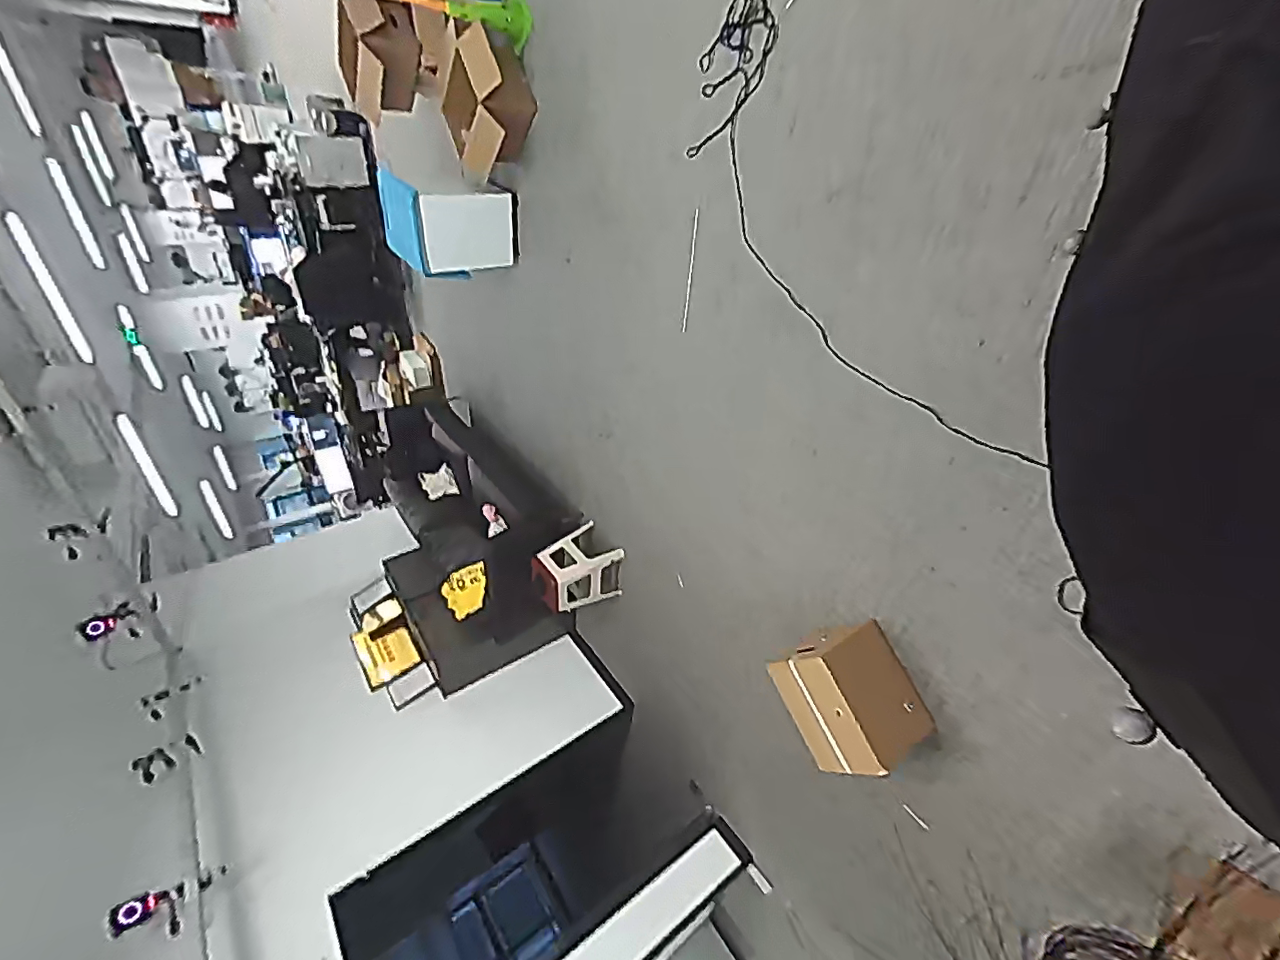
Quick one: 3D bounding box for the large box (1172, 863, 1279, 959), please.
[{"bbox_3d":[1.417,1.150,1.138,0.408,0.320,0.320,25,128,48],"label":"large box"}]
